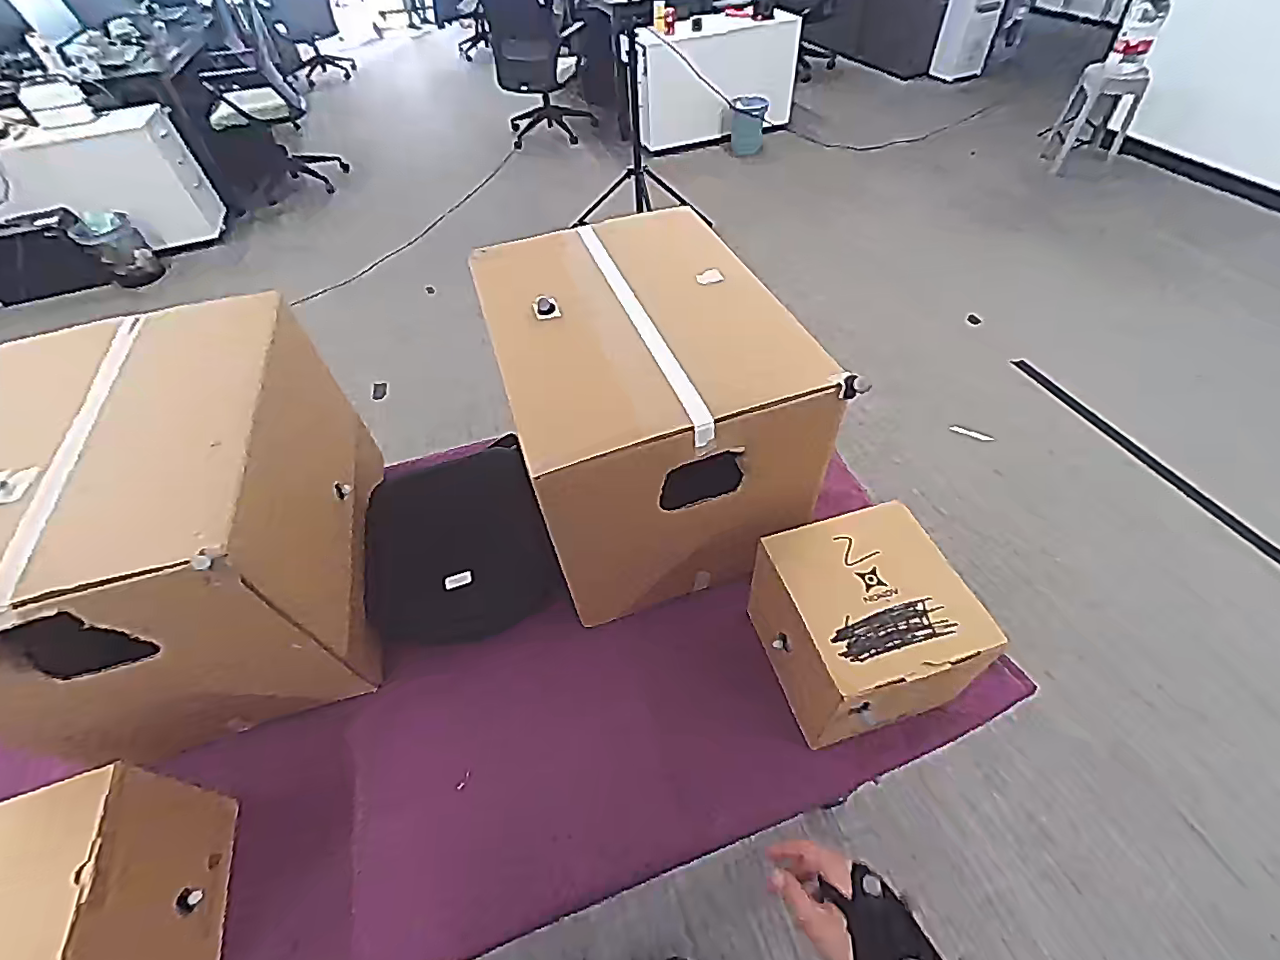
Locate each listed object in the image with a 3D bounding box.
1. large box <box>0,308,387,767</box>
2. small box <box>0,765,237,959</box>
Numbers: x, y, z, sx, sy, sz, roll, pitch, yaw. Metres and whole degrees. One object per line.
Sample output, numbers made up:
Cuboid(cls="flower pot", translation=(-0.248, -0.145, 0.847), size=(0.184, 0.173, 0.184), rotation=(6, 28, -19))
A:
Cuboid(cls="large box", translation=(-0.526, 0.060, 0.651), size=(0.320, 0.320, 0.408), rotation=(-16, 53, -8))
Cuboid(cls="small box", translation=(-0.502, 0.384, 0.467), size=(0.179, 0.176, 0.168), rotation=(-18, 50, -11))
